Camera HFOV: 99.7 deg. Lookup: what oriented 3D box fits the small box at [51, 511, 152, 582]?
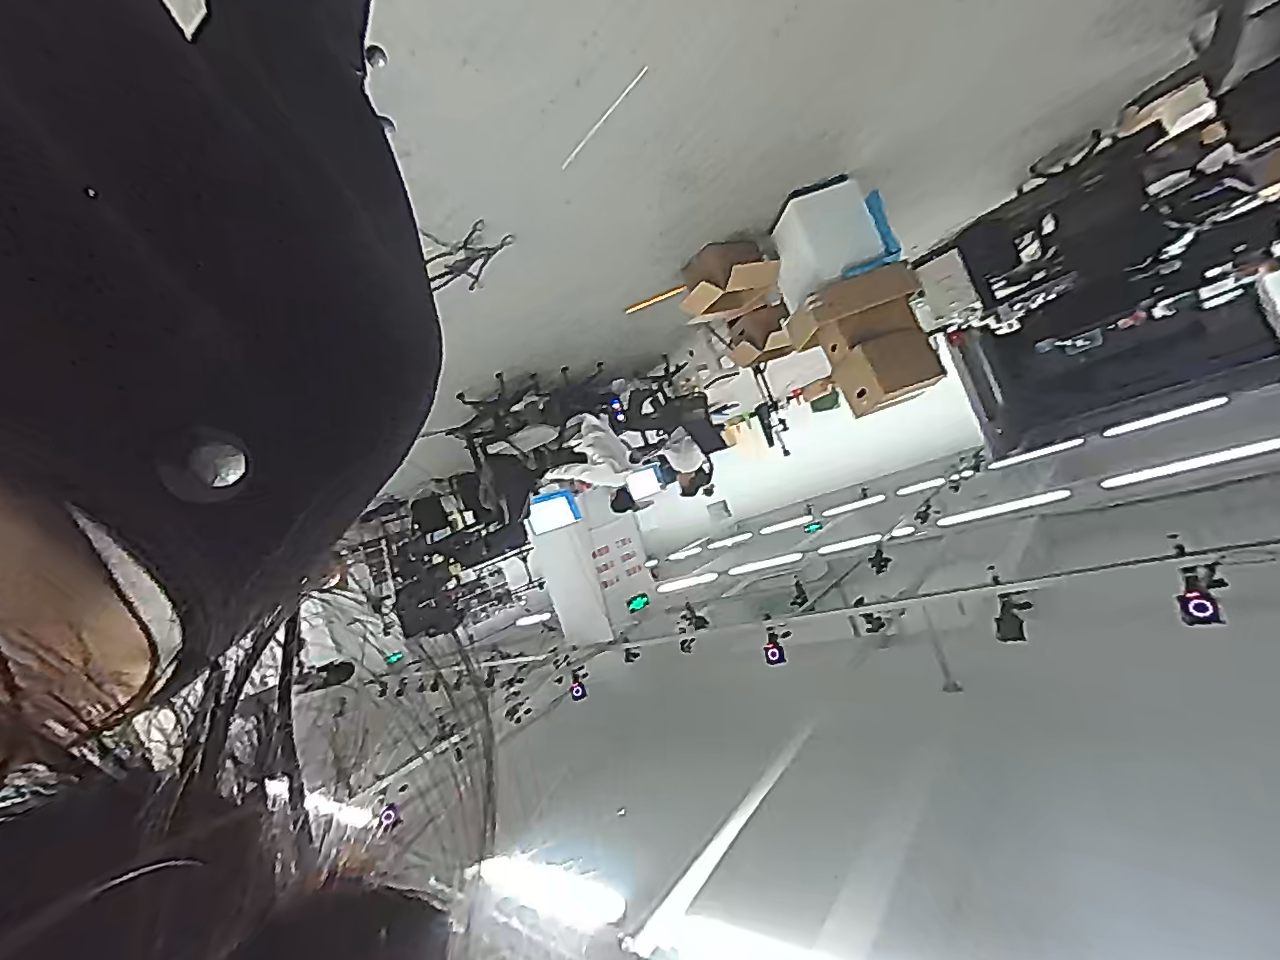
[{"bbox_3d":[-1.746,0.209,1.754,0.168,0.176,0.179,-24,175,28],"label":"small box"}]
